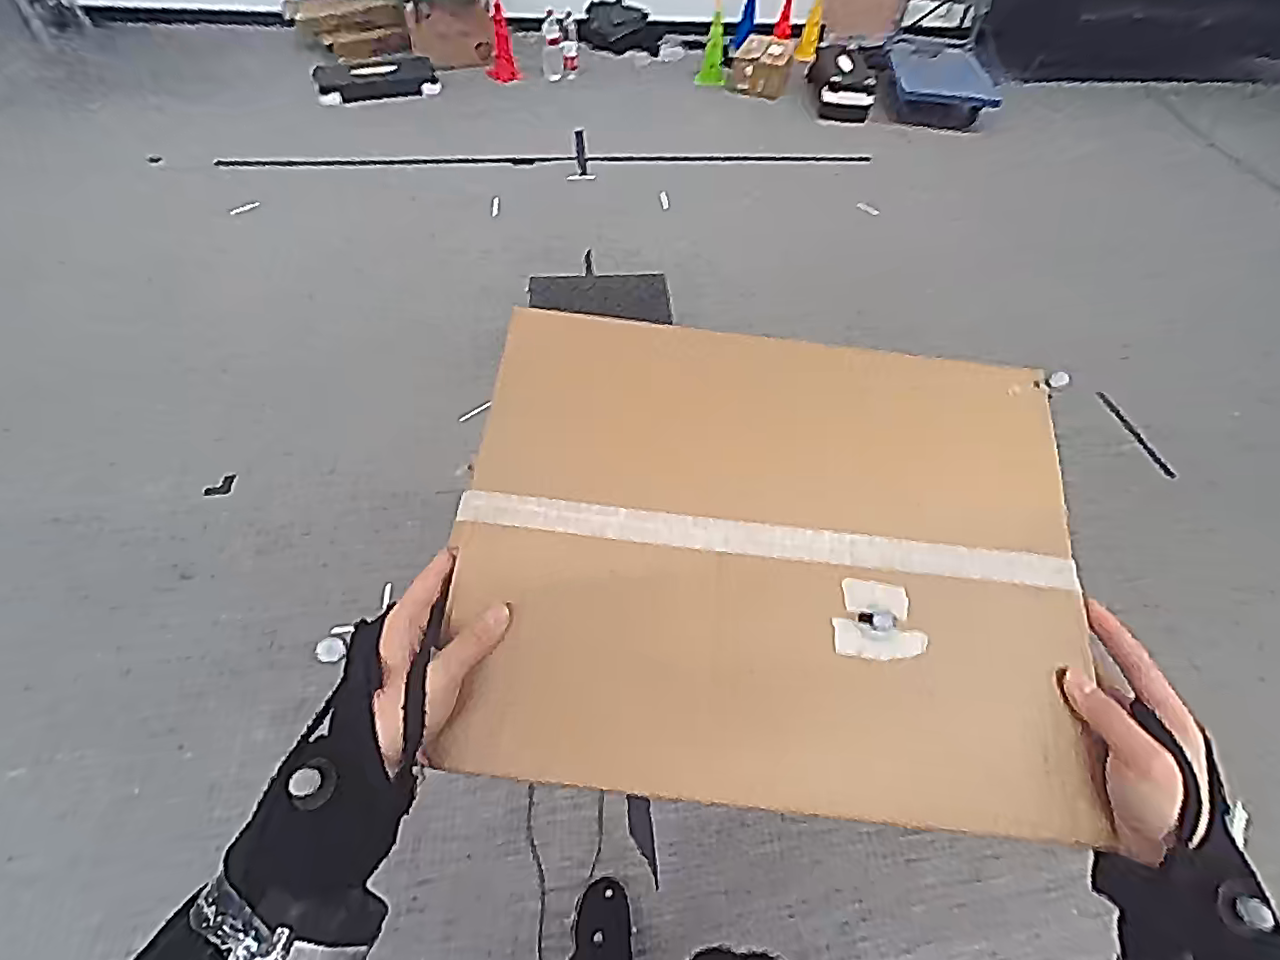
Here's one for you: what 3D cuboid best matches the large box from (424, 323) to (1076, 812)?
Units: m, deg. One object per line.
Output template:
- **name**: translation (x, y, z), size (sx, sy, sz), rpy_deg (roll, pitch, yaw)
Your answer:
- **large box**: translation (0.071, 0.088, 0.510), size (0.408, 0.320, 0.320), rpy_deg (6, 71, -1)
